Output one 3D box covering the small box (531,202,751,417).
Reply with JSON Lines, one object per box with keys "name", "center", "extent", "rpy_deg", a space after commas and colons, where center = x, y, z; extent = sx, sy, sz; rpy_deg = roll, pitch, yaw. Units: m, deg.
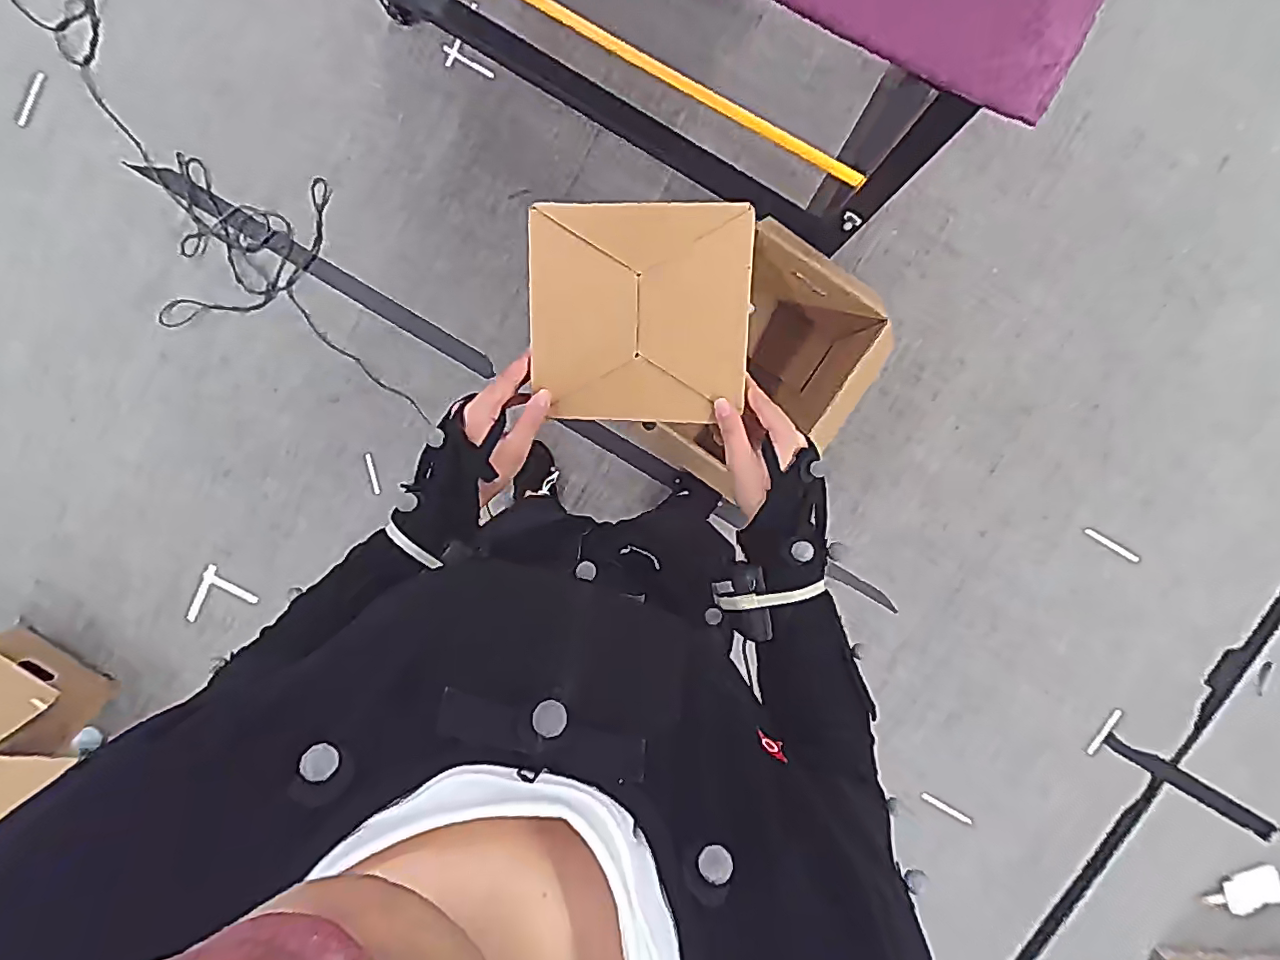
{"name": "small box", "center": [0.000, -0.146, 0.506], "extent": [0.179, 0.176, 0.168], "rpy_deg": [2, 99, 3]}
